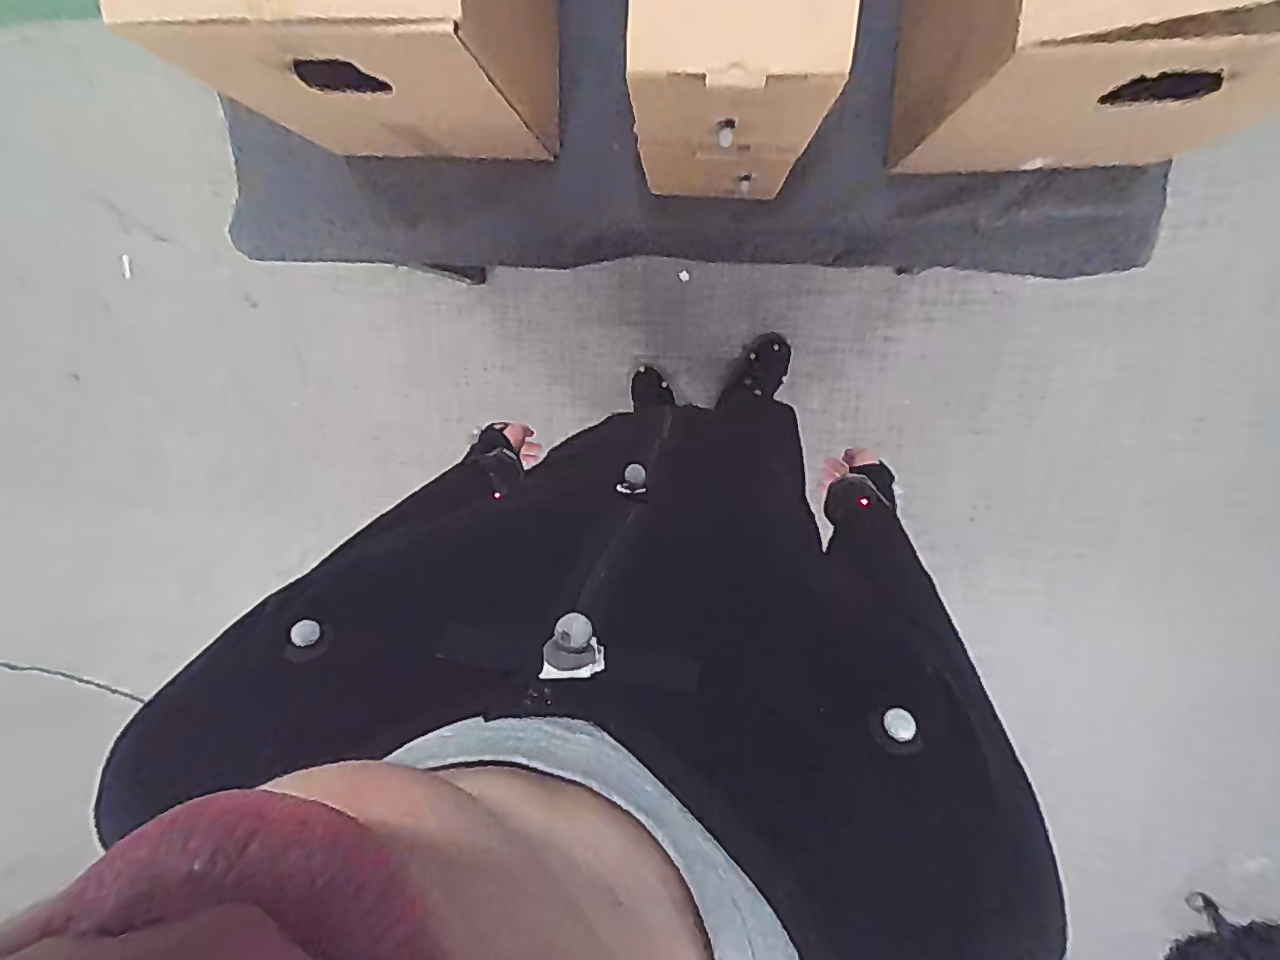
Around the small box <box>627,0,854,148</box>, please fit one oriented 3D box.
[{"bbox_3d":[0.083,-0.404,0.460,0.168,0.176,0.179,4,105,4],"label":"small box"}]
